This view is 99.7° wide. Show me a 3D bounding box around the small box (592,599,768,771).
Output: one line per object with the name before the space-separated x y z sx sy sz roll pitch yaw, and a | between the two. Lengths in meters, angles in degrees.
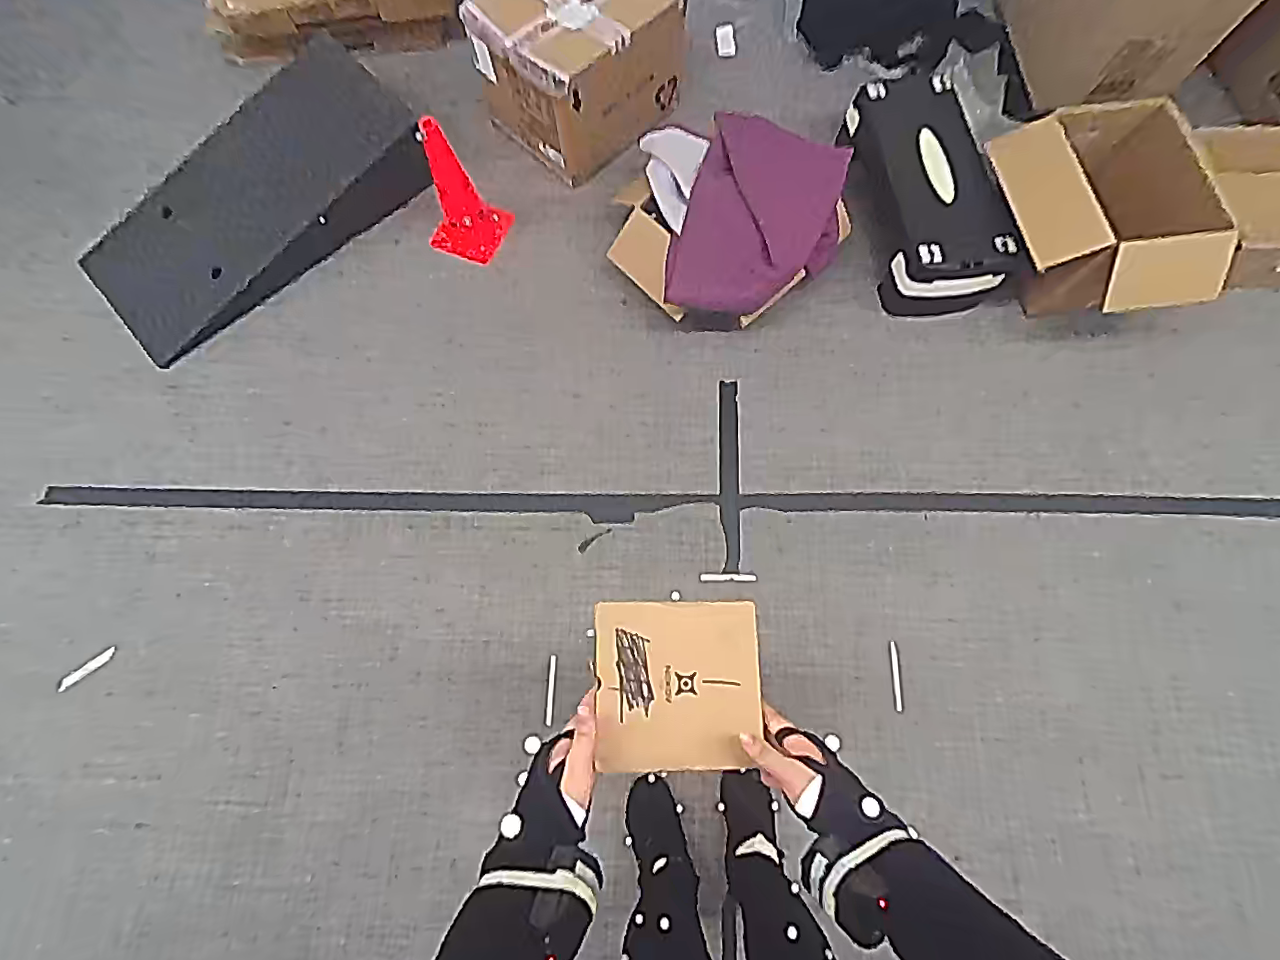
small box | 0.036 0.227 0.626 0.179 0.176 0.168 0 75 -4
